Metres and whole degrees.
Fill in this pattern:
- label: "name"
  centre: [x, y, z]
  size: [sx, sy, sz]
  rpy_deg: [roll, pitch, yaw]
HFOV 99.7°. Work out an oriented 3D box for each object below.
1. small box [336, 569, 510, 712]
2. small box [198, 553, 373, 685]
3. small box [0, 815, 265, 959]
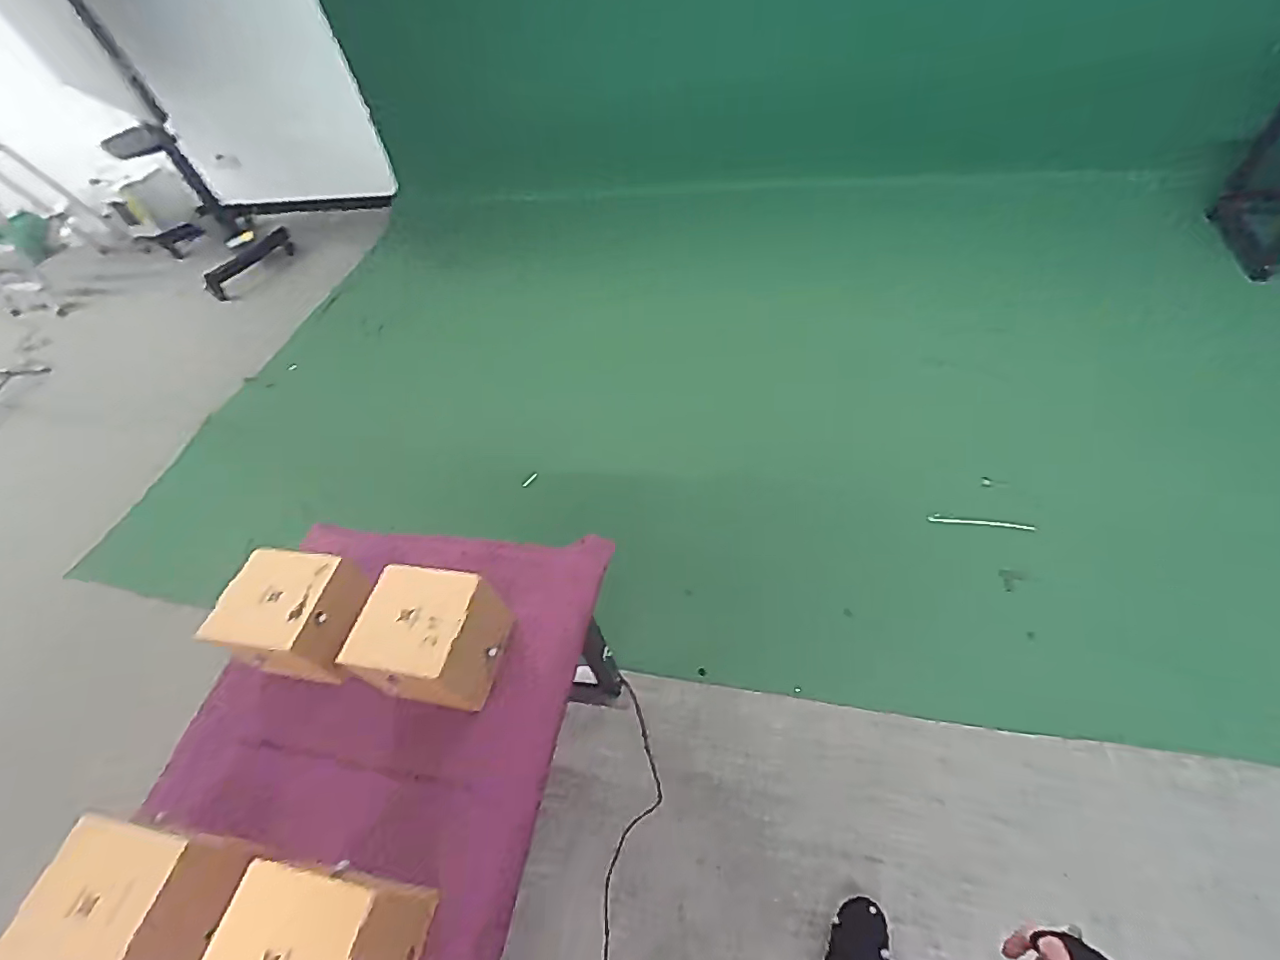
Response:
- label: "small box"
  centre: [-0.343, 0.266, 0.891]
  size: [0.179, 0.176, 0.168]
  rpy_deg: [4, 53, 14]
- label: "small box"
  centre: [-0.597, 0.247, 0.951]
  size: [0.179, 0.176, 0.168]
  rpy_deg: [4, 53, 12]
- label: "small box"
  centre: [-0.658, 0.563, 0.710]
  size: [0.179, 0.176, 0.168]
  rpy_deg: [5, 53, 12]
